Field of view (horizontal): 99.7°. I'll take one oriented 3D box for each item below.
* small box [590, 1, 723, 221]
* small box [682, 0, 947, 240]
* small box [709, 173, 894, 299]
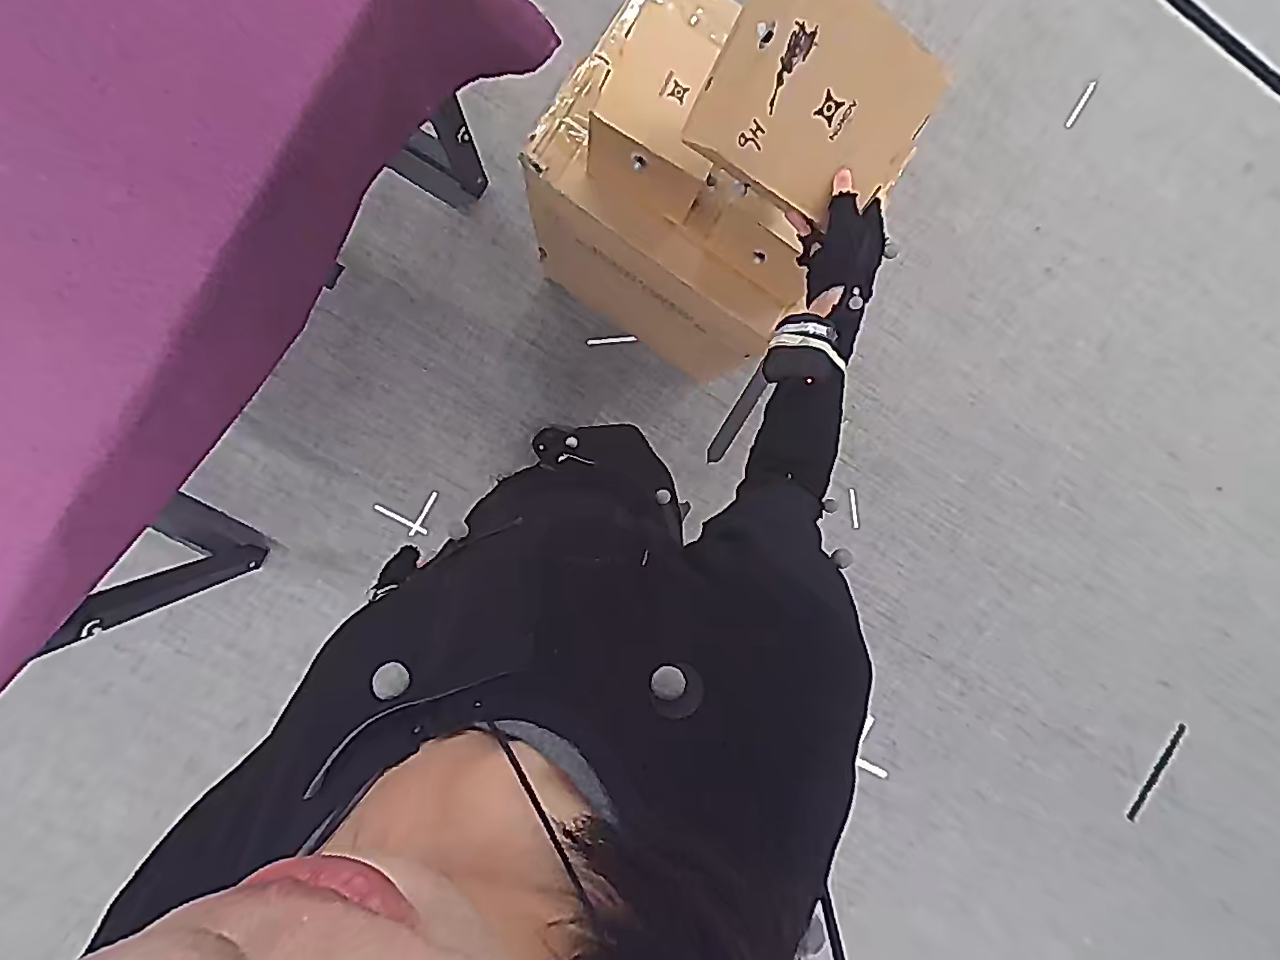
[{"bbox_3d":[0.038,-0.512,0.784,0.179,0.176,0.168,27,92,-9],"label":"small box"},{"bbox_3d":[0.170,-0.393,0.580,0.179,0.176,0.168,21,118,-24],"label":"small box"},{"bbox_3d":[0.228,-0.395,0.810,0.179,0.176,0.168,32,90,-5],"label":"small box"}]
